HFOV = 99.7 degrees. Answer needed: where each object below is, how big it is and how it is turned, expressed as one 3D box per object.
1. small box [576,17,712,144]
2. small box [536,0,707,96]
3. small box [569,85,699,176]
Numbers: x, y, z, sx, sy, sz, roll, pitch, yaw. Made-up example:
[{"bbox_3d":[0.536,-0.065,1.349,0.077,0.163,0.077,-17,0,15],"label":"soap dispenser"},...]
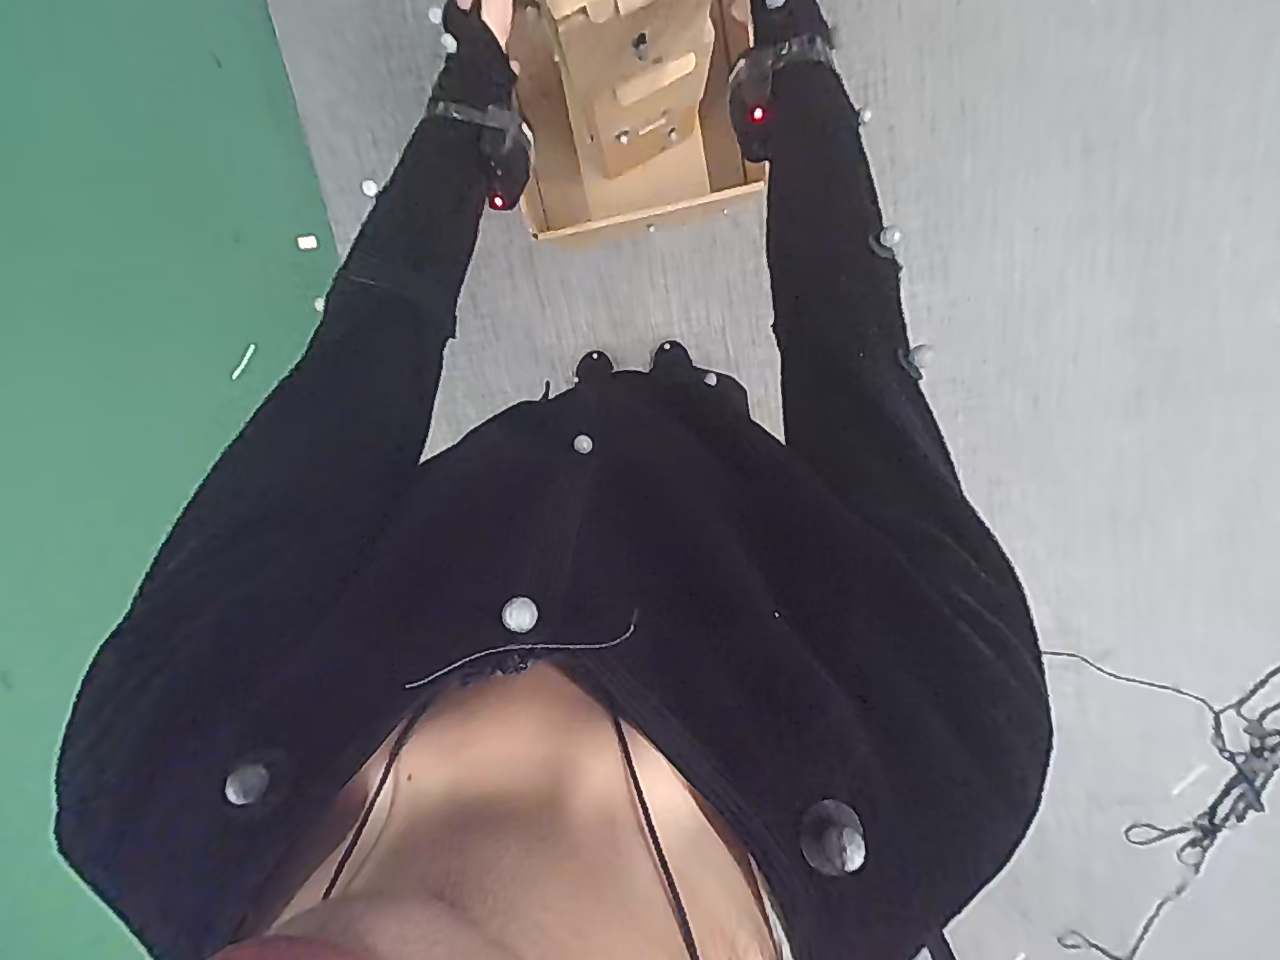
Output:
[{"bbox_3d":[-0.018,-0.579,0.711,0.168,0.176,0.179,-24,101,6],"label":"small box"},{"bbox_3d":[-0.032,-0.535,0.553,0.168,0.176,0.179,-22,103,5],"label":"small box"},{"bbox_3d":[-0.016,-0.620,0.869,0.168,0.176,0.179,-24,101,7],"label":"small box"}]
